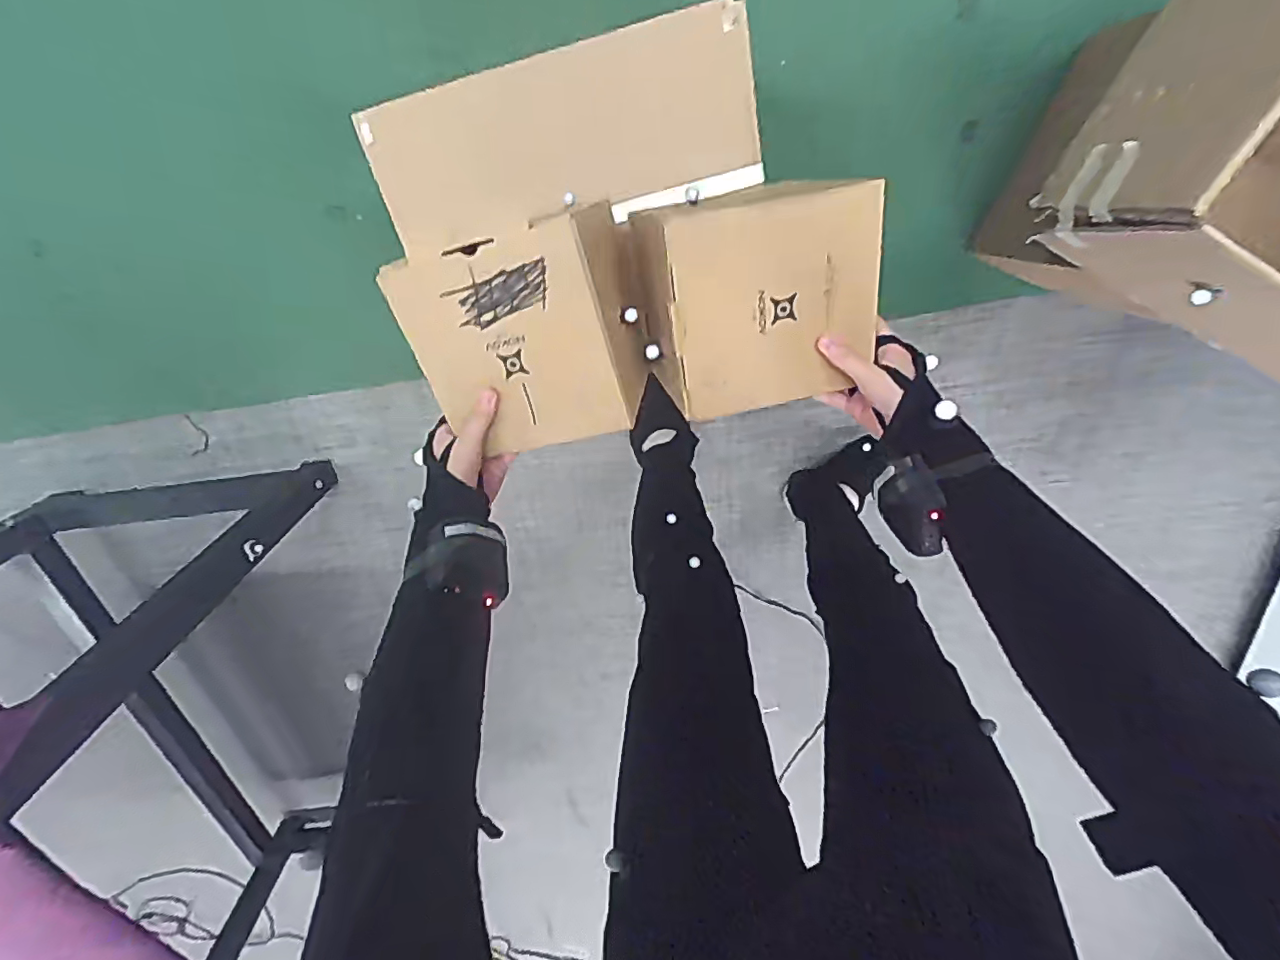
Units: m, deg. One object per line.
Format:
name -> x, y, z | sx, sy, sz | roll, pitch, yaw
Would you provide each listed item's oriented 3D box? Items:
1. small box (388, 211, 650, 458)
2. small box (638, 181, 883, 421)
small box -> -0.094, -0.145, 0.518 | 0.168, 0.176, 0.179 | -9, 120, 14
small box -> 0.100, -0.175, 0.514 | 0.179, 0.176, 0.168 | -13, 119, -5
